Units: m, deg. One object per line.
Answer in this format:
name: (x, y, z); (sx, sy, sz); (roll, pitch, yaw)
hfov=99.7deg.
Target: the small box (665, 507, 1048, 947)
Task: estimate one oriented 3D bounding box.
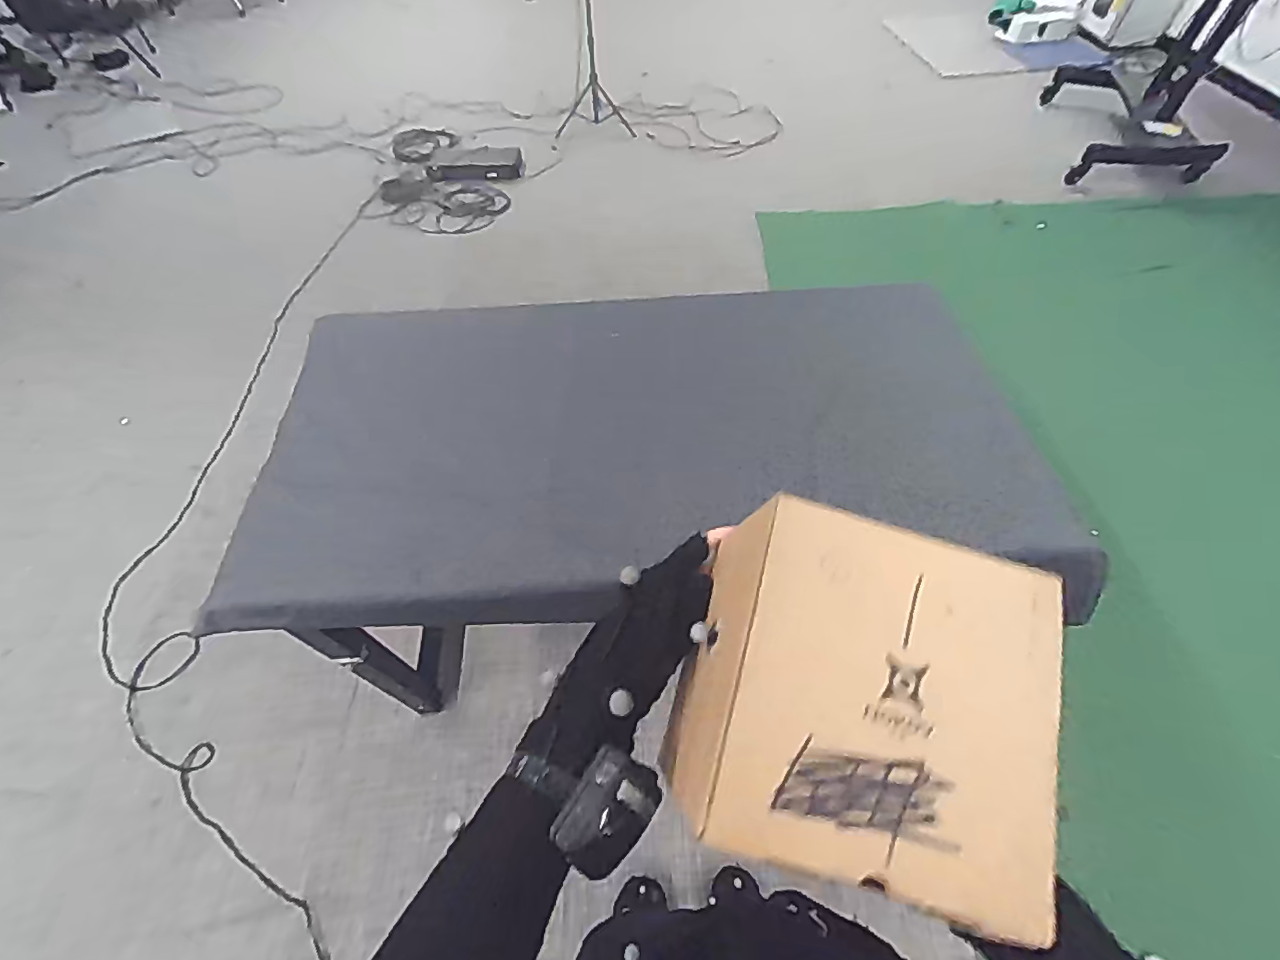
small box: (0.120, 0.141, 0.358); (0.168, 0.176, 0.179); (19, 72, 0)
